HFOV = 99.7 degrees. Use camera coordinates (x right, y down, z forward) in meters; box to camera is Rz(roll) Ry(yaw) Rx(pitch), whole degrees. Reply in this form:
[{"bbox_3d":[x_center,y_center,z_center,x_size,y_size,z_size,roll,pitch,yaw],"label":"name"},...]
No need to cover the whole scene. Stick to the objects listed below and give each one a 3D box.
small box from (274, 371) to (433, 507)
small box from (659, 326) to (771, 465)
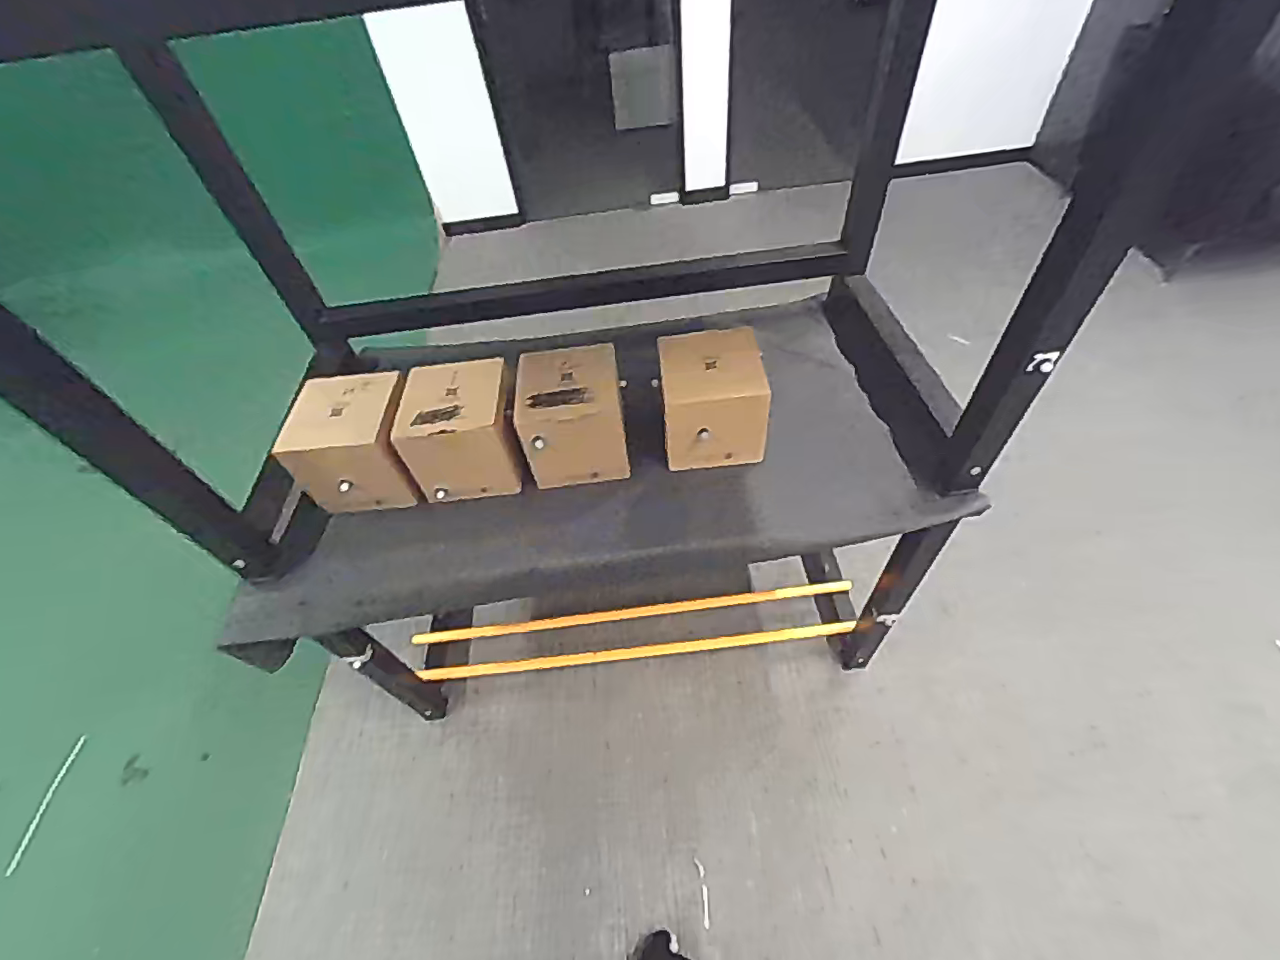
[{"bbox_3d":[-0.483,-0.065,0.945,0.168,0.176,0.179,-4,50,1],"label":"small box"},{"bbox_3d":[0.125,-0.139,0.938,0.168,0.176,0.179,-5,50,2],"label":"small box"}]
